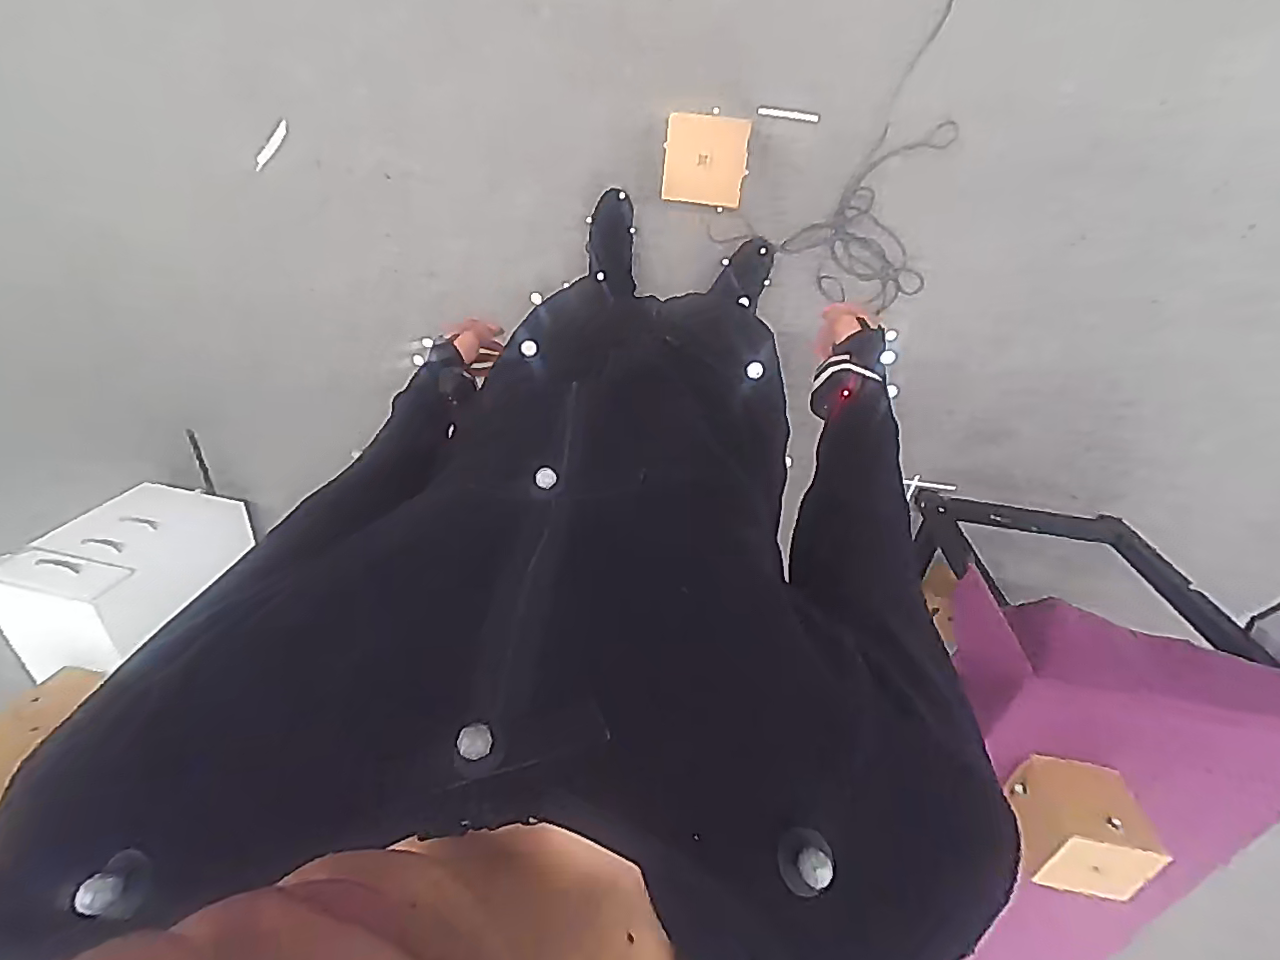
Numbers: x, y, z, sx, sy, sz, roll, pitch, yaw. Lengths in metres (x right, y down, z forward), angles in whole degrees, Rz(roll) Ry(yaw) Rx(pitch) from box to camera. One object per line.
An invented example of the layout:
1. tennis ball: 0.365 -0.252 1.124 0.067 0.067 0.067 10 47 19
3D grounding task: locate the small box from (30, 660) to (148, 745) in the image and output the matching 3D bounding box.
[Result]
1. small box: -1.730 0.698 1.709 0.179 0.176 0.168 10 122 5

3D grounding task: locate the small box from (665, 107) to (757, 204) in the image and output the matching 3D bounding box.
1. small box: 0.159 -0.724 1.215 0.179 0.176 0.168 8 121 5

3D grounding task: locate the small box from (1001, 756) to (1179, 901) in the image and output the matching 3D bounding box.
1. small box: 0.855 0.670 1.051 0.179 0.176 0.168 10 121 5

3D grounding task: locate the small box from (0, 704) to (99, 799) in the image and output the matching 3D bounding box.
1. small box: -1.752 0.782 1.569 0.168 0.176 0.179 11 122 5
